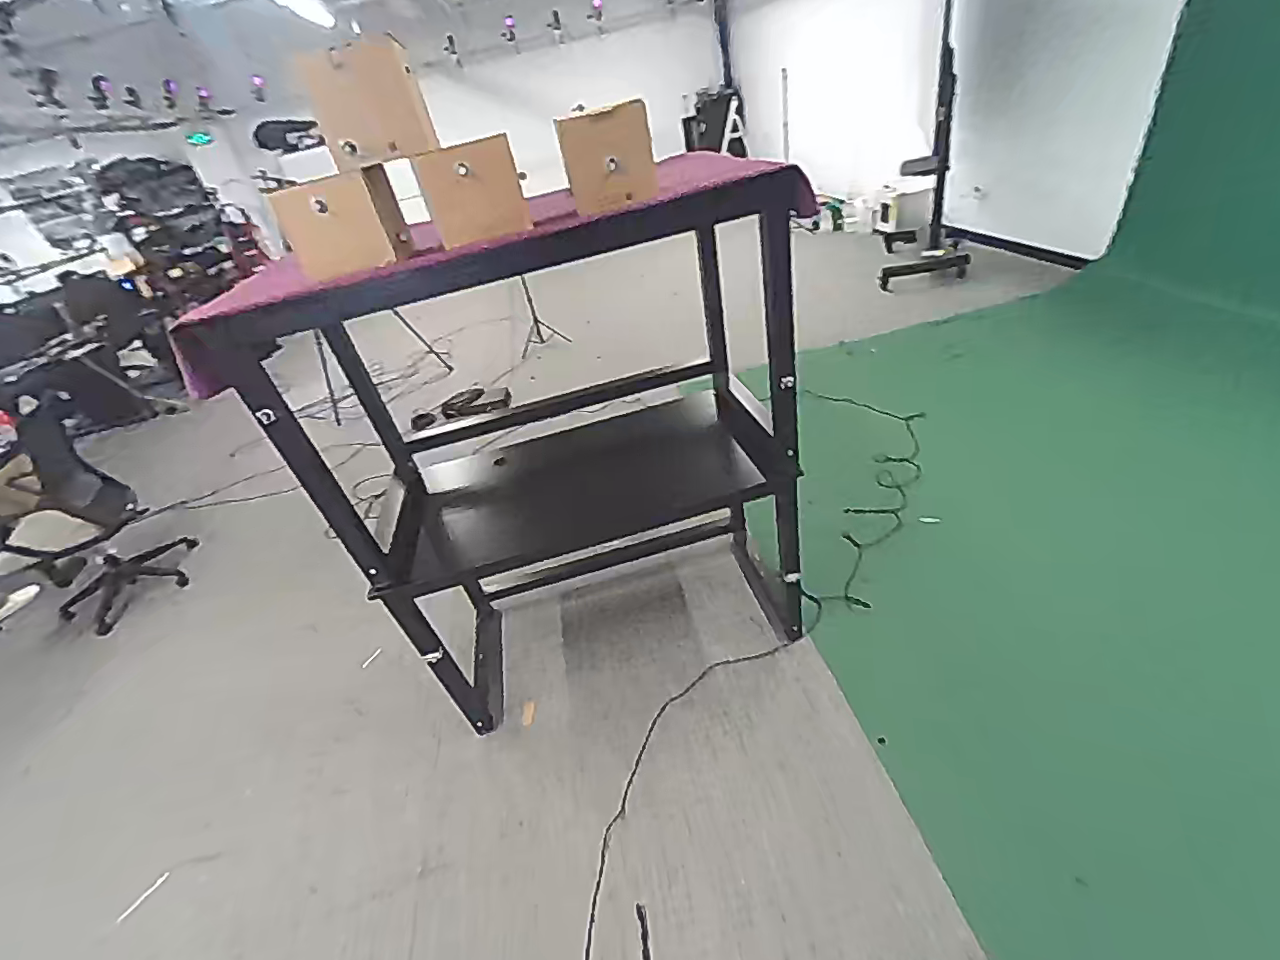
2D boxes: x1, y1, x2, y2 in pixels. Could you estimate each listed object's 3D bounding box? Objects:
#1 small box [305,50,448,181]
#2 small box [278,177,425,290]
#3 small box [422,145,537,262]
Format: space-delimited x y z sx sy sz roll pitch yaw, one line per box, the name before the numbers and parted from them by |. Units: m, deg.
small box | -0.471 -0.663 1.002 0.168 0.176 0.179 -15 33 -3
small box | -0.559 -0.490 1.075 0.179 0.176 0.168 -12 34 0
small box | -0.311 -0.558 1.088 0.179 0.176 0.168 -17 33 -4
